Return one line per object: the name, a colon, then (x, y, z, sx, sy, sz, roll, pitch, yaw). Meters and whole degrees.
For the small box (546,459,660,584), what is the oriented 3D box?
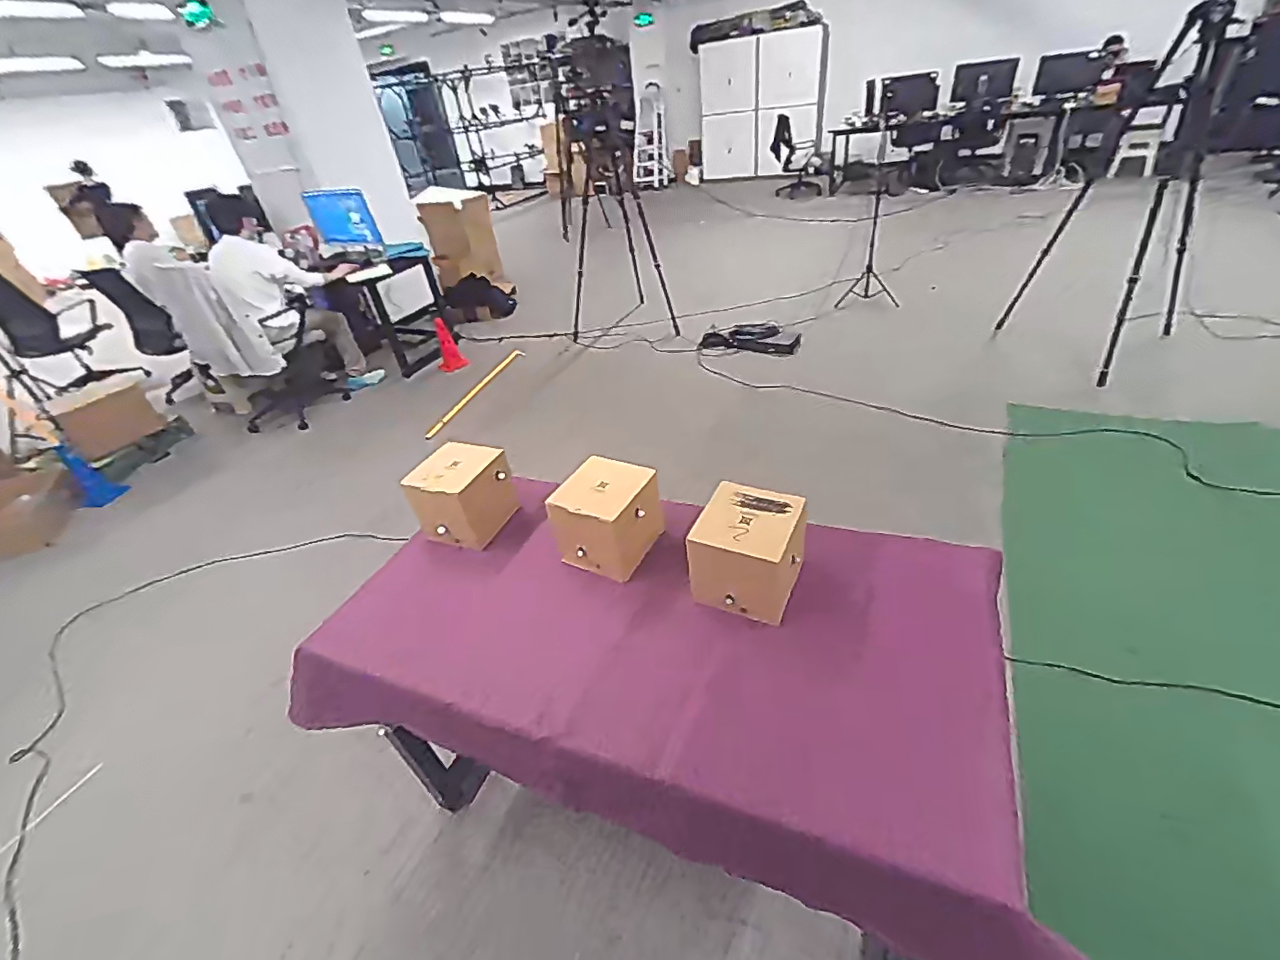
small box: (-0.068, 0.084, 1.140, 0.168, 0.176, 0.179, 13, 43, 28)

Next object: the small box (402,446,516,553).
small box: (-0.411, 0.043, 1.267, 0.168, 0.176, 0.179, 8, 40, 23)
